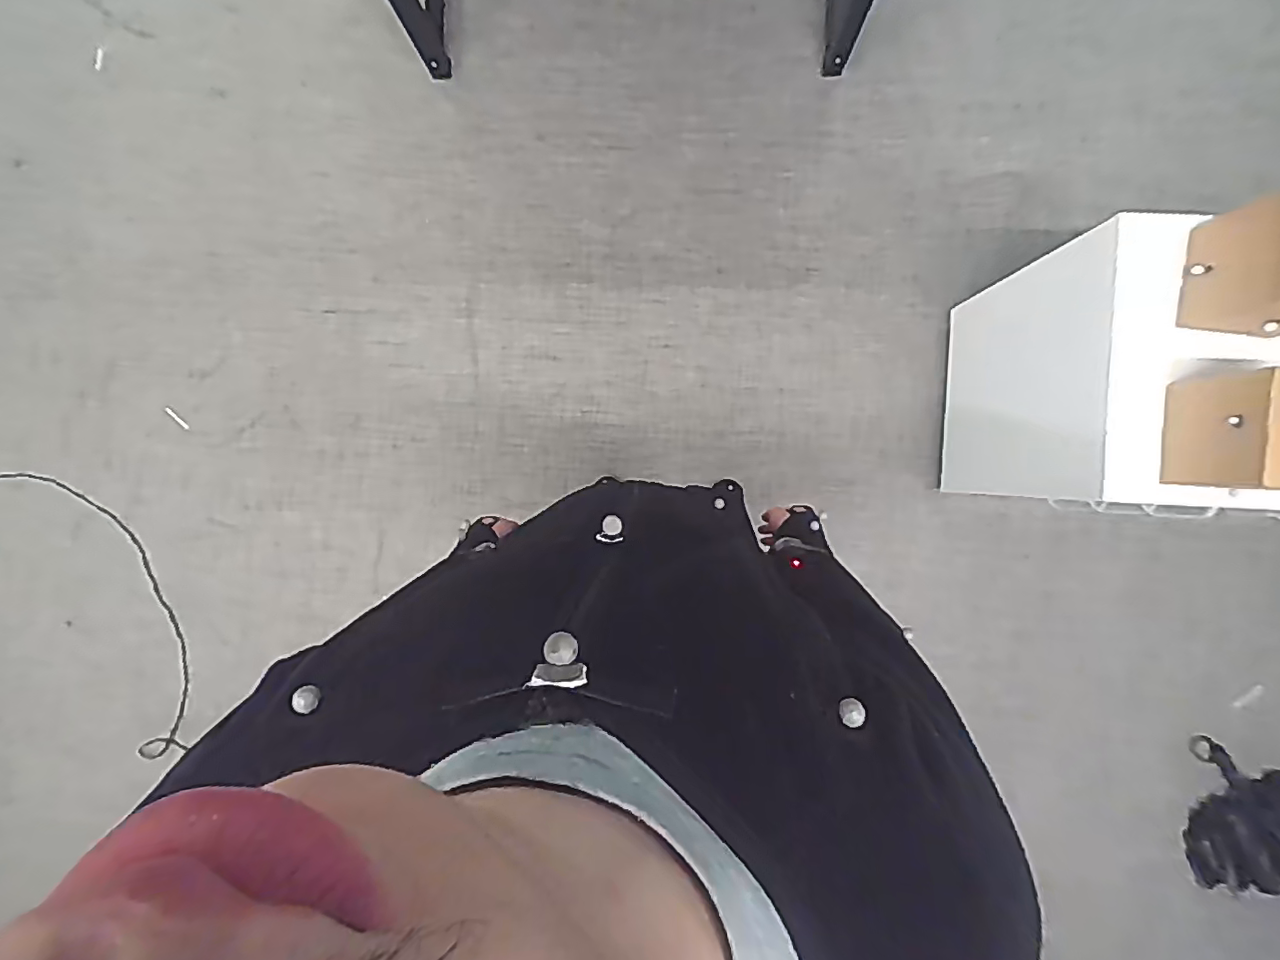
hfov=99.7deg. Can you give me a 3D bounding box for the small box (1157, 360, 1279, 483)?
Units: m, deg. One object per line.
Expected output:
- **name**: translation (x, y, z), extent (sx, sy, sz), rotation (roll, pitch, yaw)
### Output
- **small box**: translation (0.992, -0.086, 0.872), extent (0.168, 0.176, 0.179), rotation (2, 90, 0)
